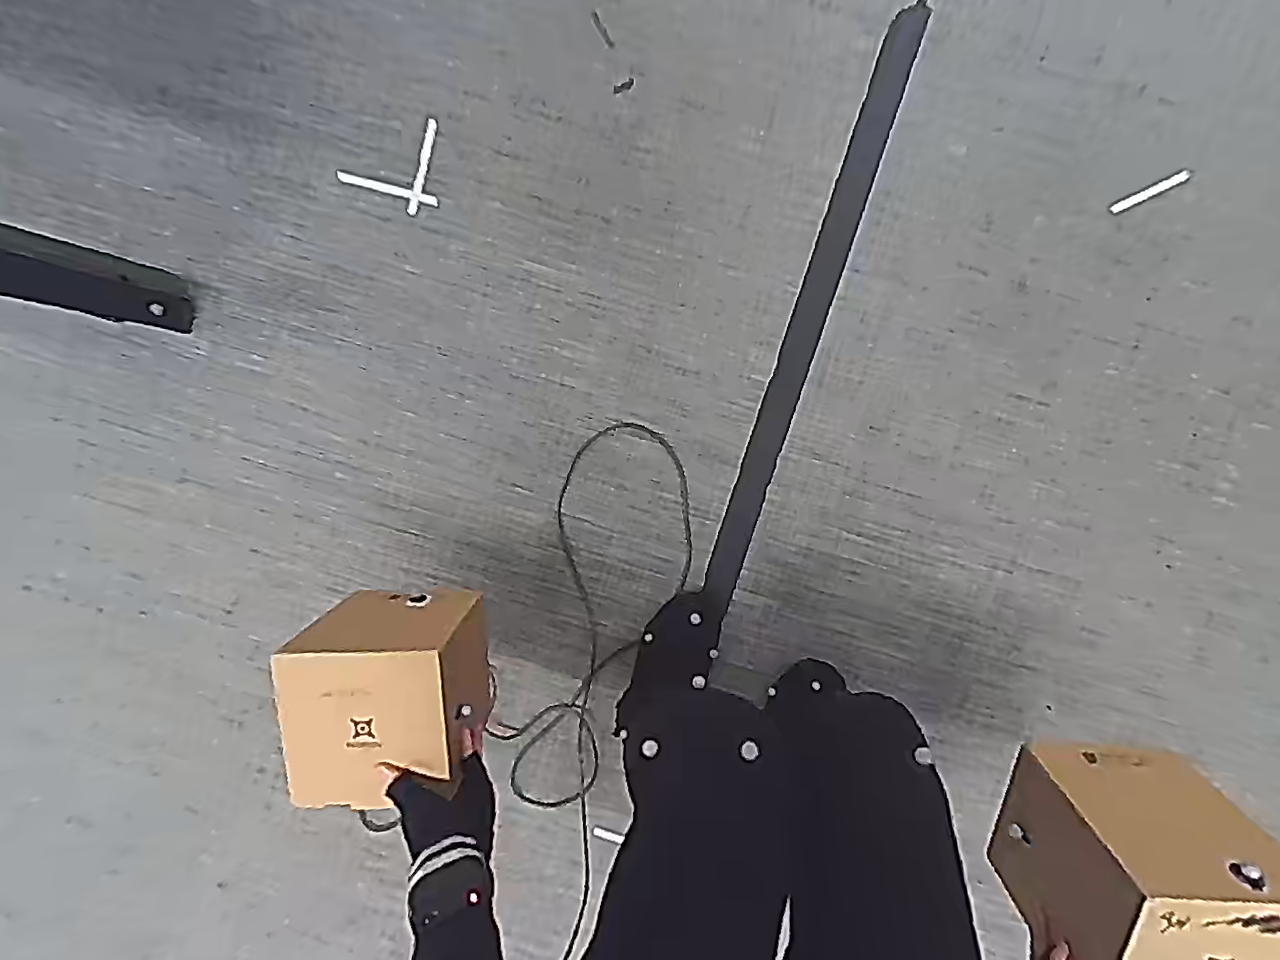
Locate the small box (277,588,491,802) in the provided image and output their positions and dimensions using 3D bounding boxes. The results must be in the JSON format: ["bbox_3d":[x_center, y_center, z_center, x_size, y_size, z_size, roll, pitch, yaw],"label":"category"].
[{"bbox_3d":[-0.279,0.239,0.631,0.168,0.176,0.179,-1,99,-1],"label":"small box"}]

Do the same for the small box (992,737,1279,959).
[{"bbox_3d":[0.494,0.396,0.546,0.168,0.176,0.179,2,108,3],"label":"small box"}]
